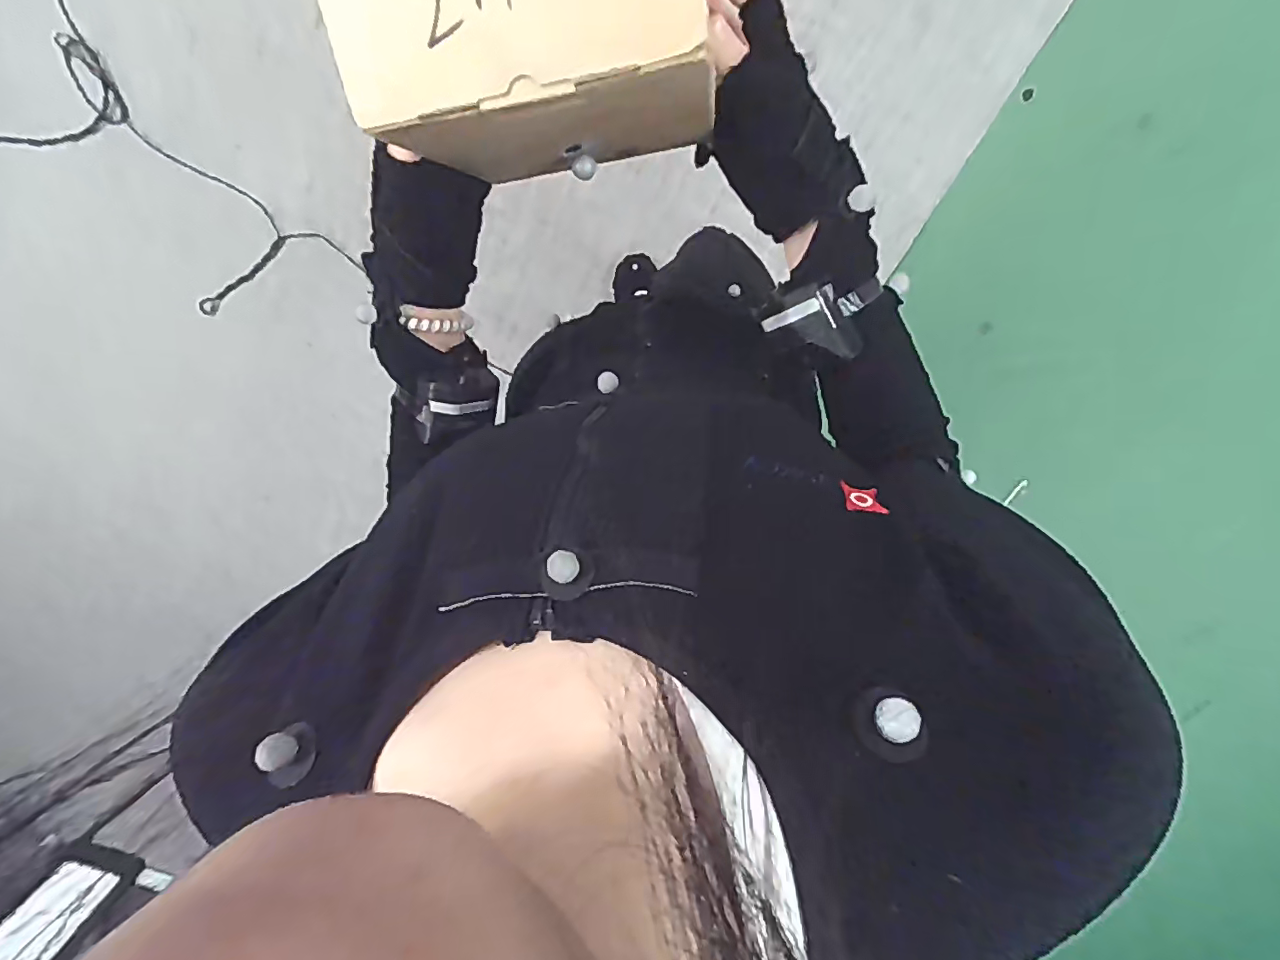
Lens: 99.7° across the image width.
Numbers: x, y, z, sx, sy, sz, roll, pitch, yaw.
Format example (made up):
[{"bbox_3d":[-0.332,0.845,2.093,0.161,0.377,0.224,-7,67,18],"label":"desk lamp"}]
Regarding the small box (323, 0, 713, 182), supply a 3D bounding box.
[{"bbox_3d":[-0.052,-0.278,0.284,0.168,0.176,0.179,-5,111,11],"label":"small box"}]
